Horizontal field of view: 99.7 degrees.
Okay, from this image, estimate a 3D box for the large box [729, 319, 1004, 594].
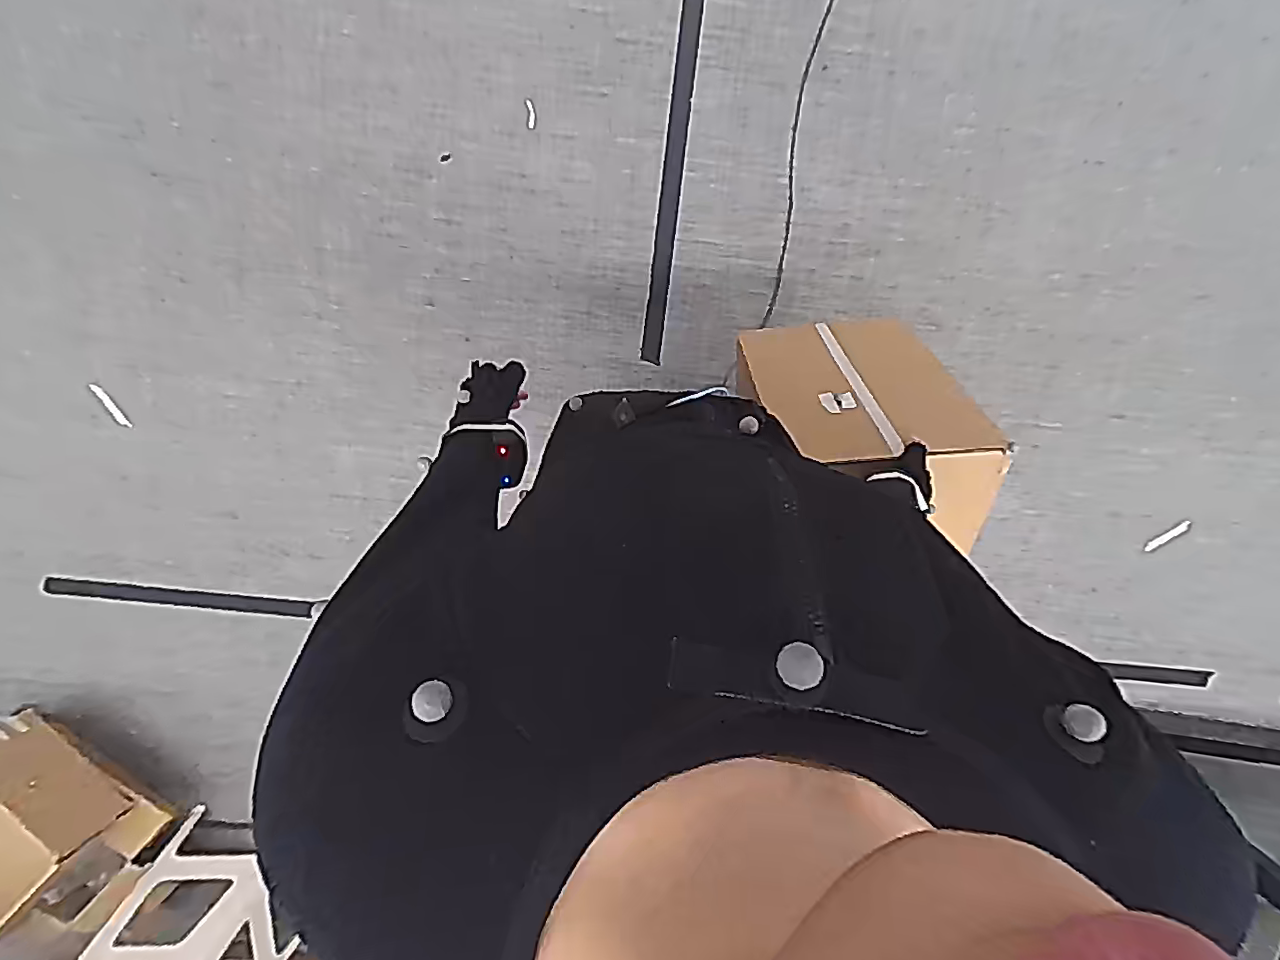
[{"bbox_3d":[0.351,-0.052,0.989,0.320,0.408,0.320,-5,133,2],"label":"large box"}]
